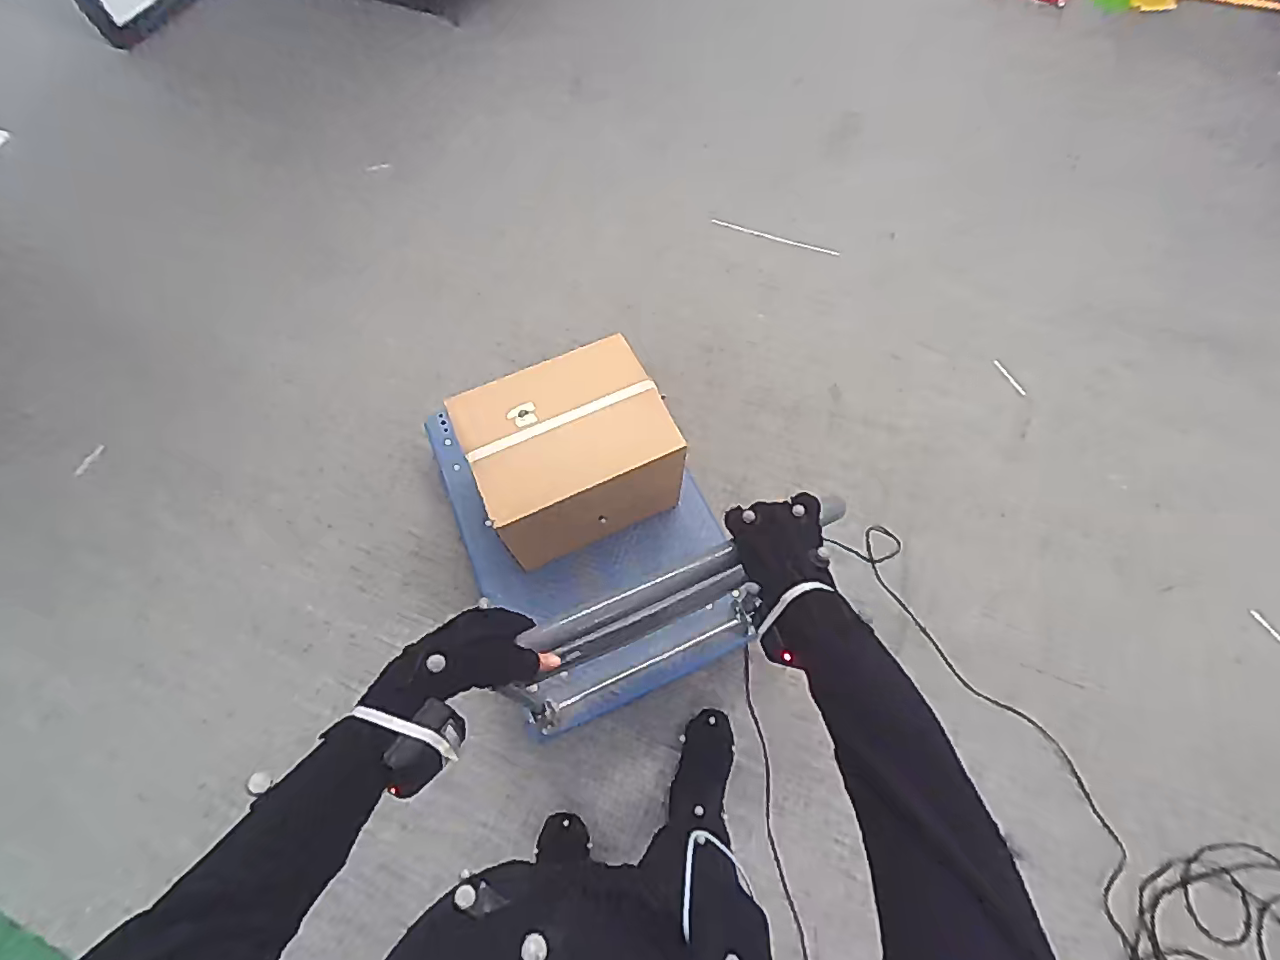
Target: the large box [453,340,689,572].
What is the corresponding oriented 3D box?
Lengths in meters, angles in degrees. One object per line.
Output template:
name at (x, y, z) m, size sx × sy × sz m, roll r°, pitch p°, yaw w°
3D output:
large box at (-0.142, -0.043, 1.227) m, size 0.408 × 0.320 × 0.320 m, roll -25°, pitch 67°, yaw -10°
